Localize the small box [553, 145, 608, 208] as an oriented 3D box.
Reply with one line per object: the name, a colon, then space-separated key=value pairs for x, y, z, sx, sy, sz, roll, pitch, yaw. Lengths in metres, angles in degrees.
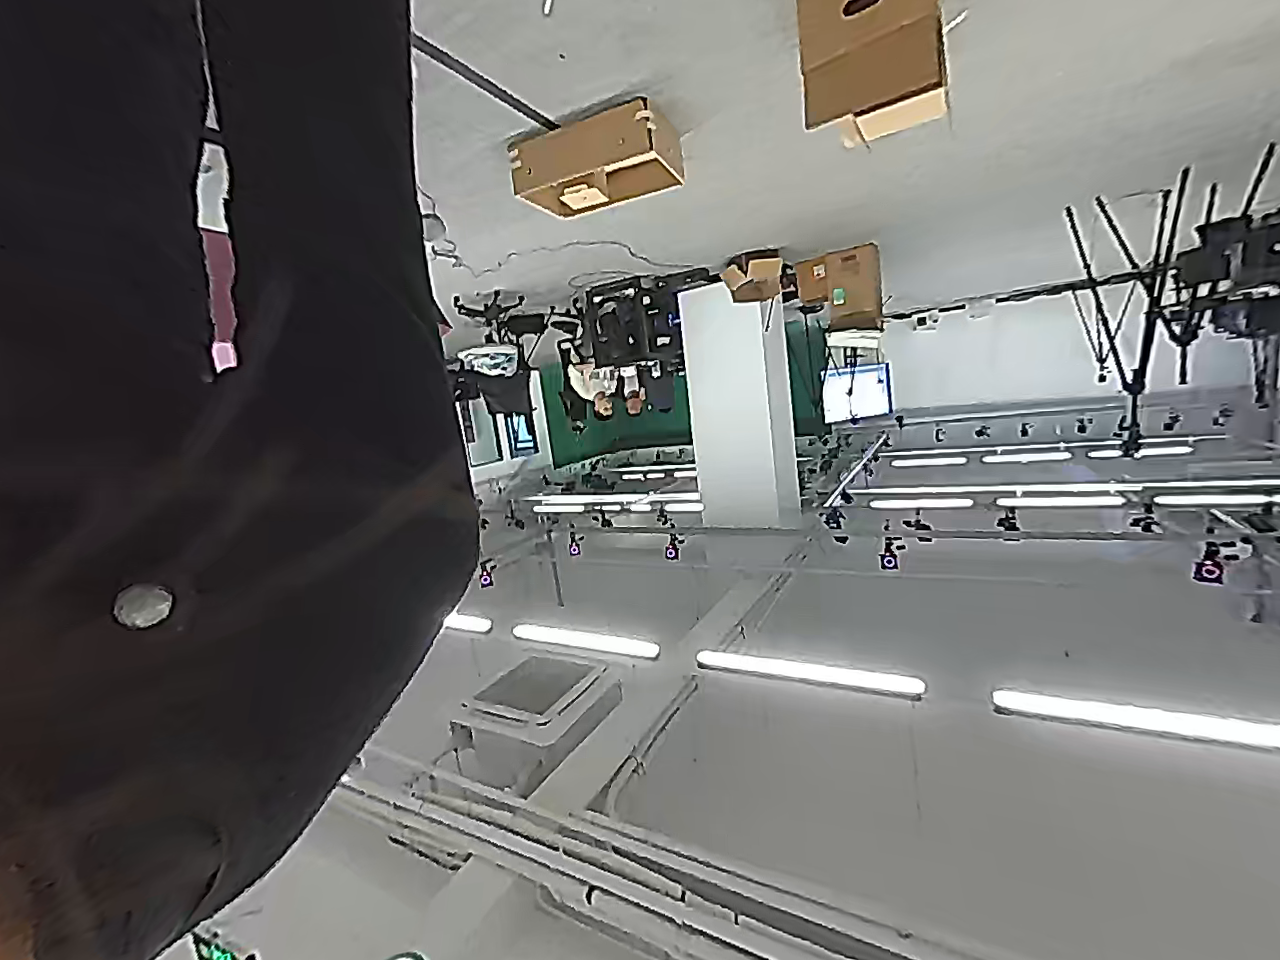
small box: x=-0.244 y=-1.246 z=2.216 sx=0.168 sy=0.176 sz=0.179 roll=-5 pitch=-171 yaw=16
